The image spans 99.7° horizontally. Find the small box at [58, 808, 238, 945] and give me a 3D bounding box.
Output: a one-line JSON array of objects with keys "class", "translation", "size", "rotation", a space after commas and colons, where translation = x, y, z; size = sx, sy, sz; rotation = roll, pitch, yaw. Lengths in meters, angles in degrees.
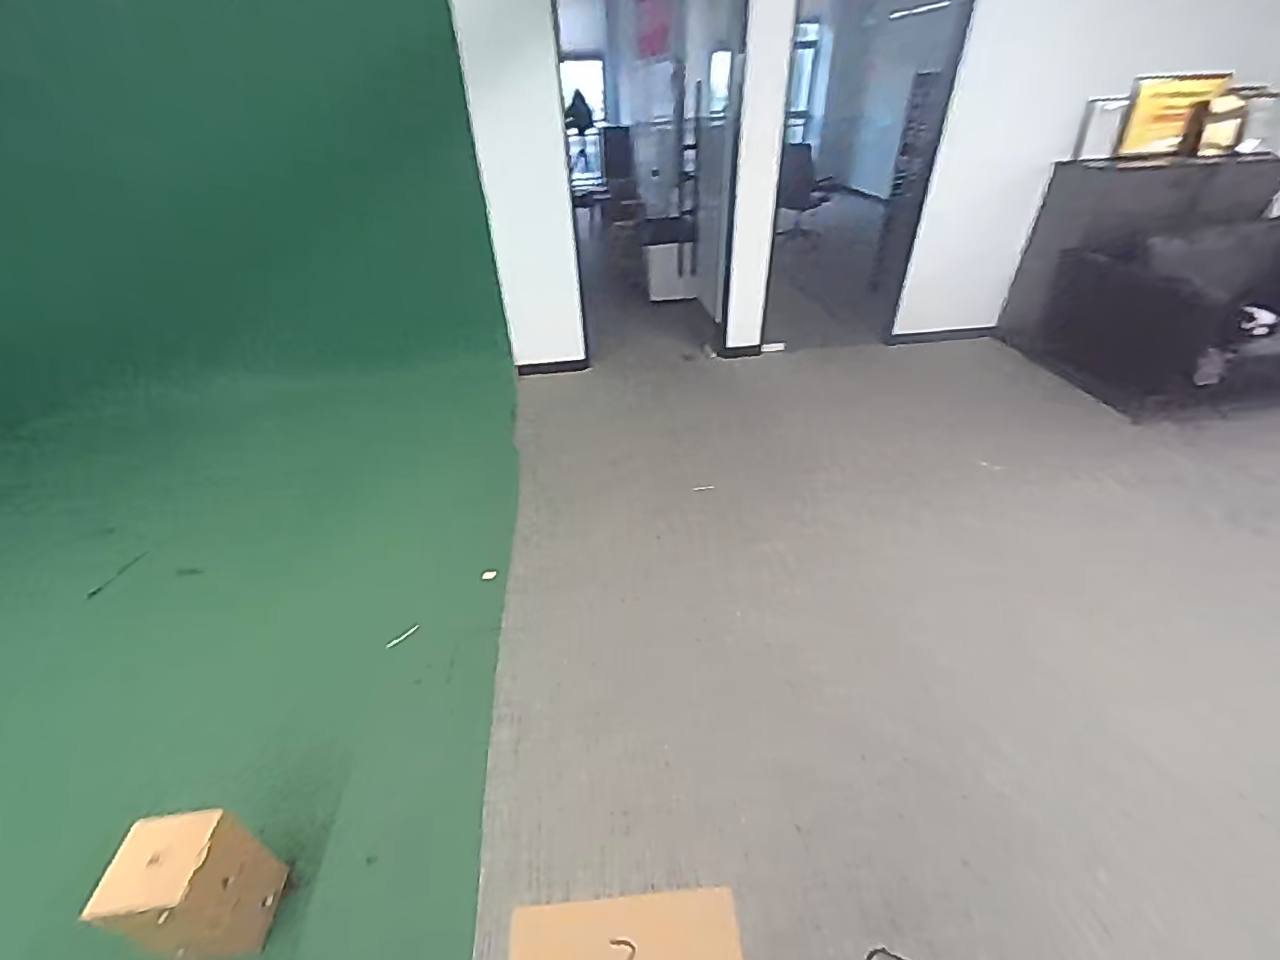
[{"class": "small box", "translation": [-0.963, 0.793, 1.080], "size": [0.179, 0.176, 0.168], "rotation": [-5, 36, -6]}]
